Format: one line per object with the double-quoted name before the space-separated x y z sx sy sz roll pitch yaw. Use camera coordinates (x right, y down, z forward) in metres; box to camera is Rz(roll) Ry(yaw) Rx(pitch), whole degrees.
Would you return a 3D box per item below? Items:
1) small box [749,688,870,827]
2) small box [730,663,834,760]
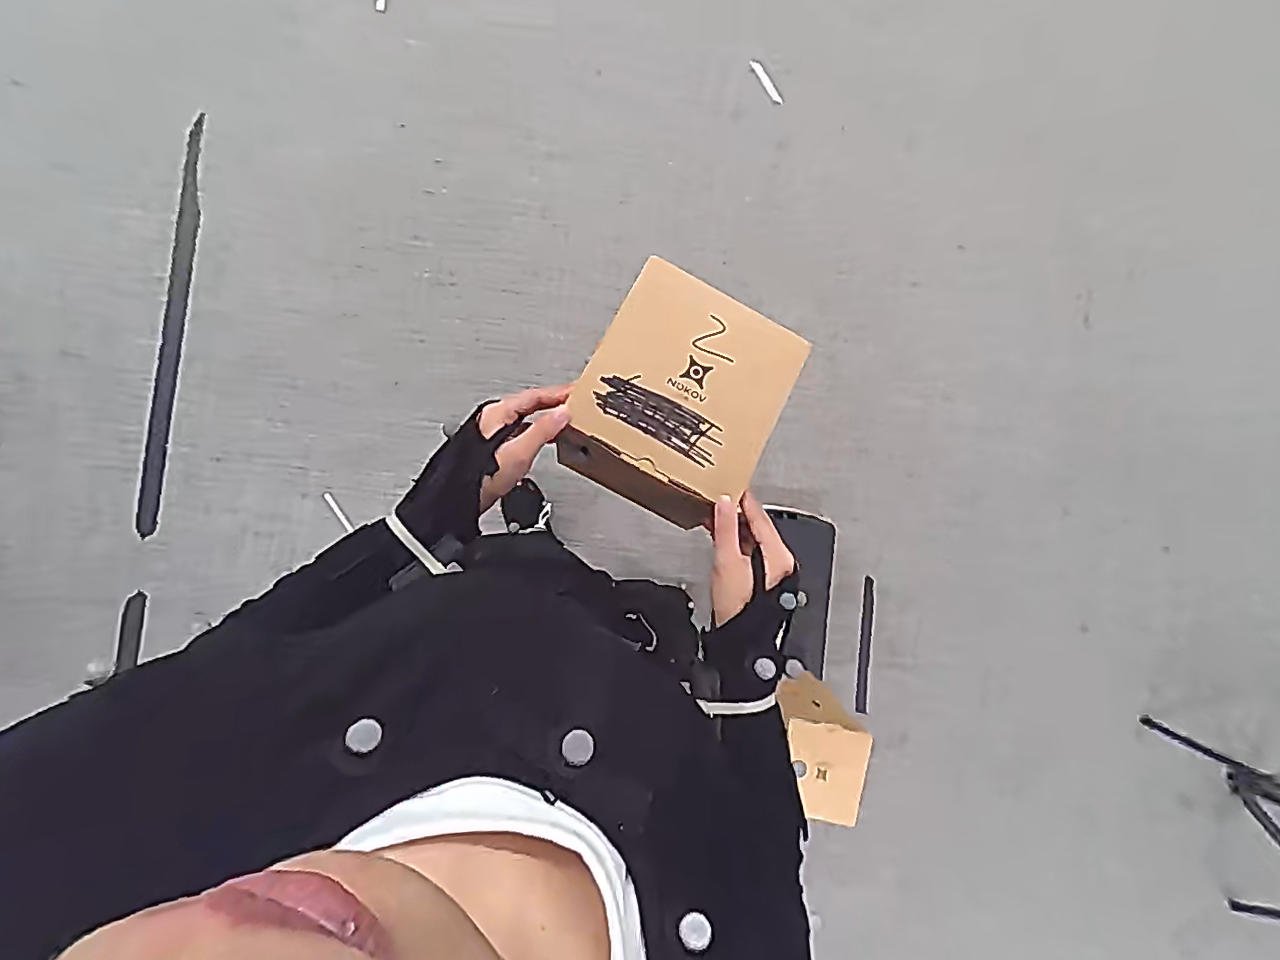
"small box" 0.327 0.543 1.079 0.168 0.176 0.179 13 87 -3
"small box" 0.316 0.534 1.242 0.179 0.176 0.168 10 88 -4
